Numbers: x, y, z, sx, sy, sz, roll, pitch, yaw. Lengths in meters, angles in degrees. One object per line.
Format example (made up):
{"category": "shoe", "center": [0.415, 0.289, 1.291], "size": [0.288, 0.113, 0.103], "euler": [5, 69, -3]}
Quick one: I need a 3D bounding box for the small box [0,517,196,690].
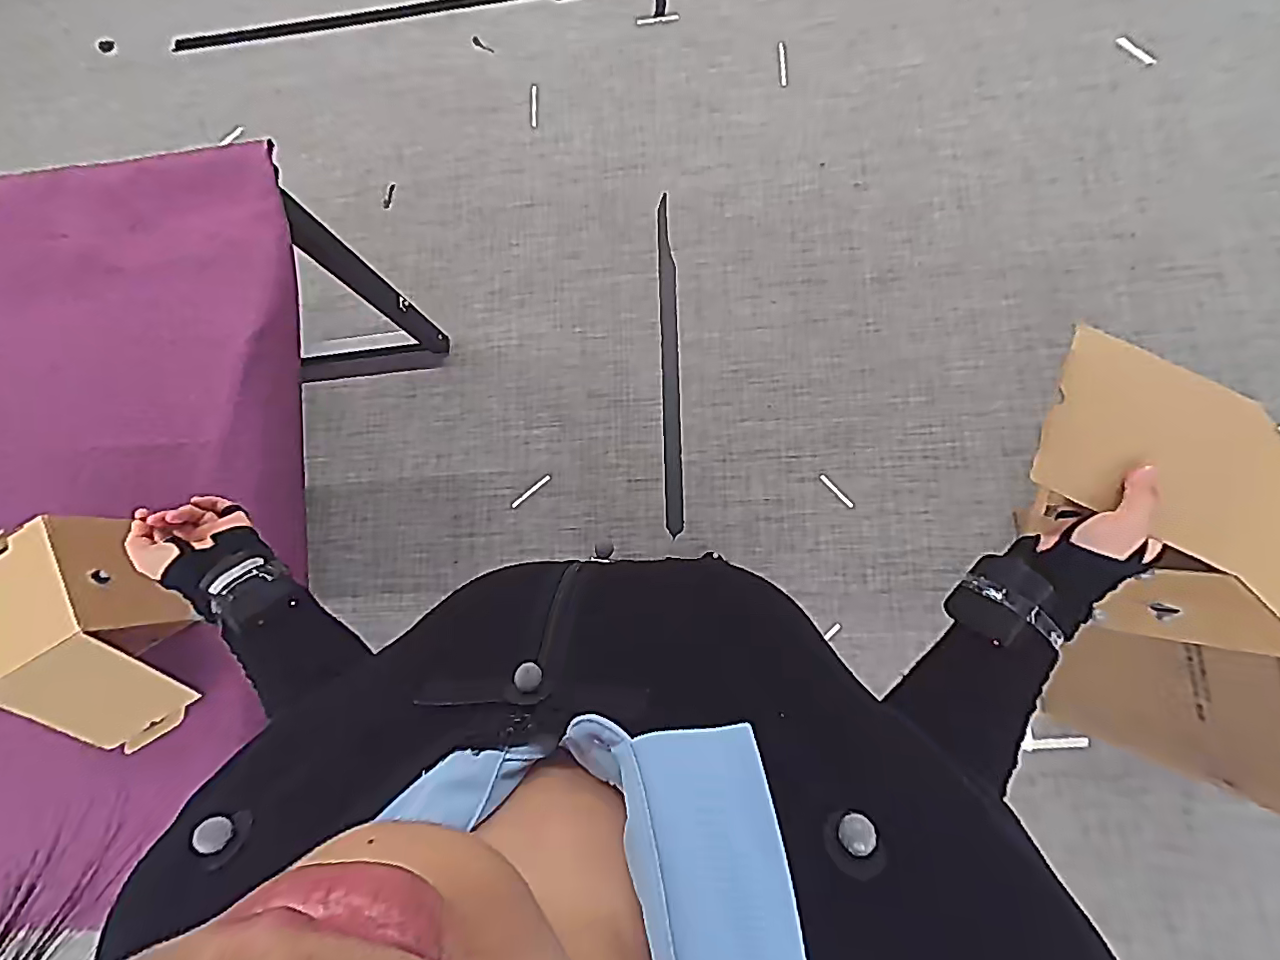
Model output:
{"category": "small box", "center": [-0.798, 0.171, 0.779], "size": [0.168, 0.176, 0.179], "euler": [-30, 78, 1]}
